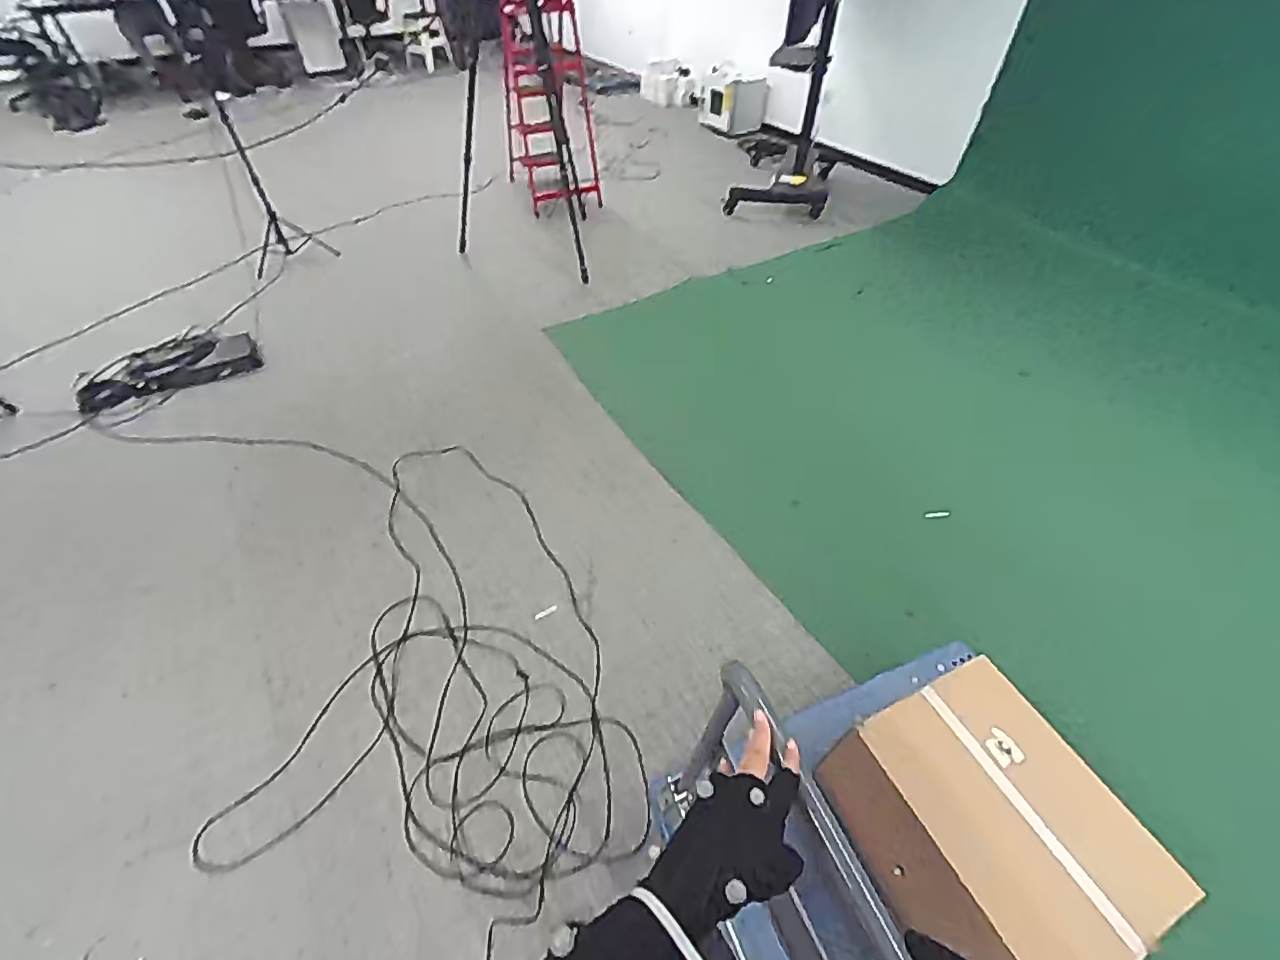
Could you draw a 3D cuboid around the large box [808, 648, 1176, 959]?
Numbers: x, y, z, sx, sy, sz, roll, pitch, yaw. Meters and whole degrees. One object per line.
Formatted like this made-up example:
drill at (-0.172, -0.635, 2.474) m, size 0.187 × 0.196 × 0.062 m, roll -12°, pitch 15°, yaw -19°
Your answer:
large box at (0.581, 0.602, 0.989) m, size 0.320 × 0.320 × 0.408 m, roll -18°, pitch 50°, yaw -18°
